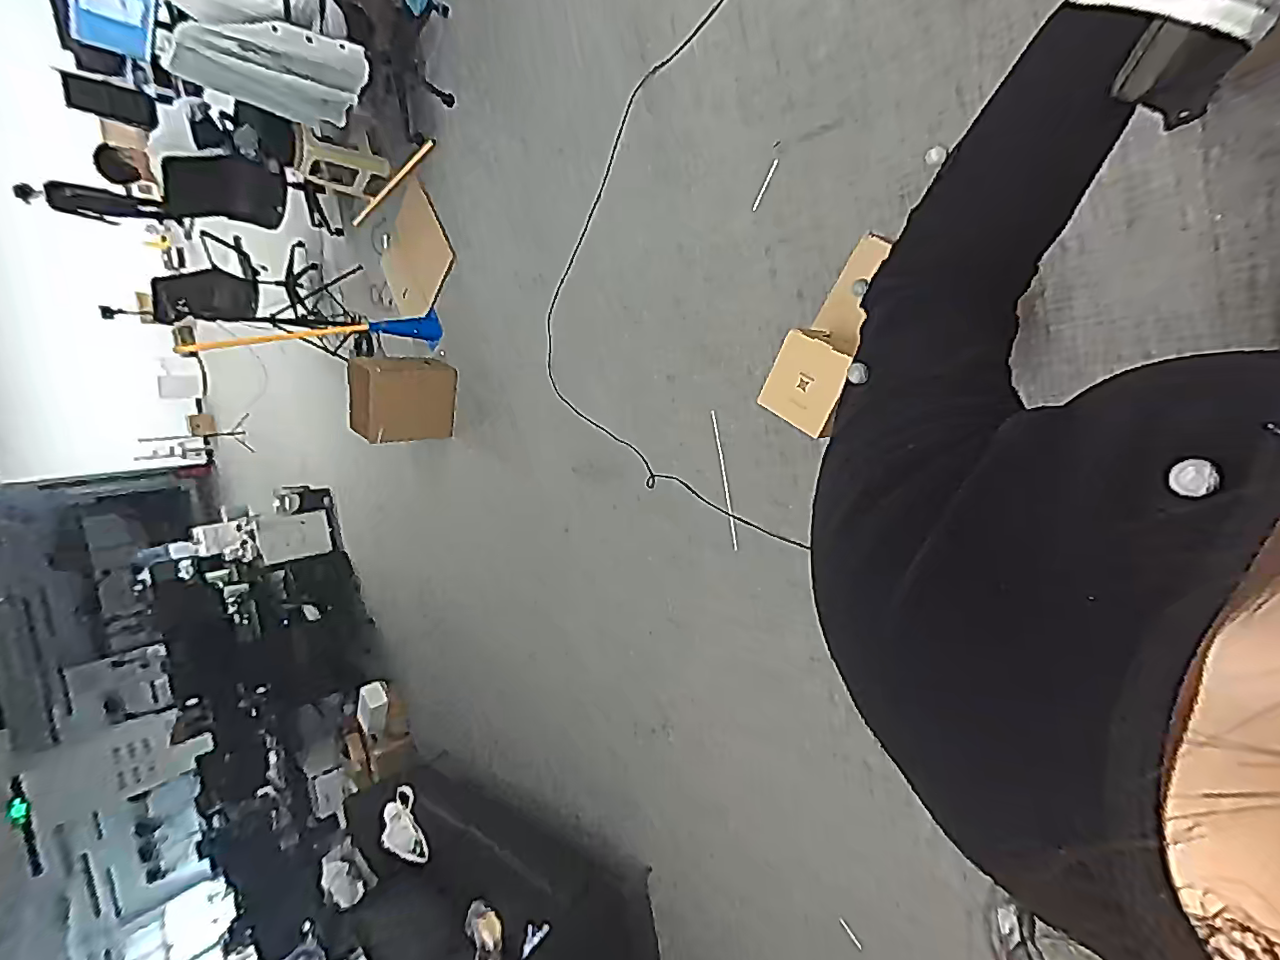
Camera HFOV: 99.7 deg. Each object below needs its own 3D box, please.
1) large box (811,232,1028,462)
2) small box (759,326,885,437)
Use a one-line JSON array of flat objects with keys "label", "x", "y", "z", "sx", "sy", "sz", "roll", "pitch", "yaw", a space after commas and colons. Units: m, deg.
[{"label": "large box", "x": 0.609, "y": -0.303, "z": 1.280, "sx": 0.320, "sy": 0.320, "sz": 0.408, "roll": 43, "pitch": 125, "yaw": 28}, {"label": "small box", "x": 0.394, "y": -0.214, "z": 1.161, "sx": 0.168, "sy": 0.176, "sz": 0.179, "roll": 42, "pitch": 126, "yaw": 33}]
